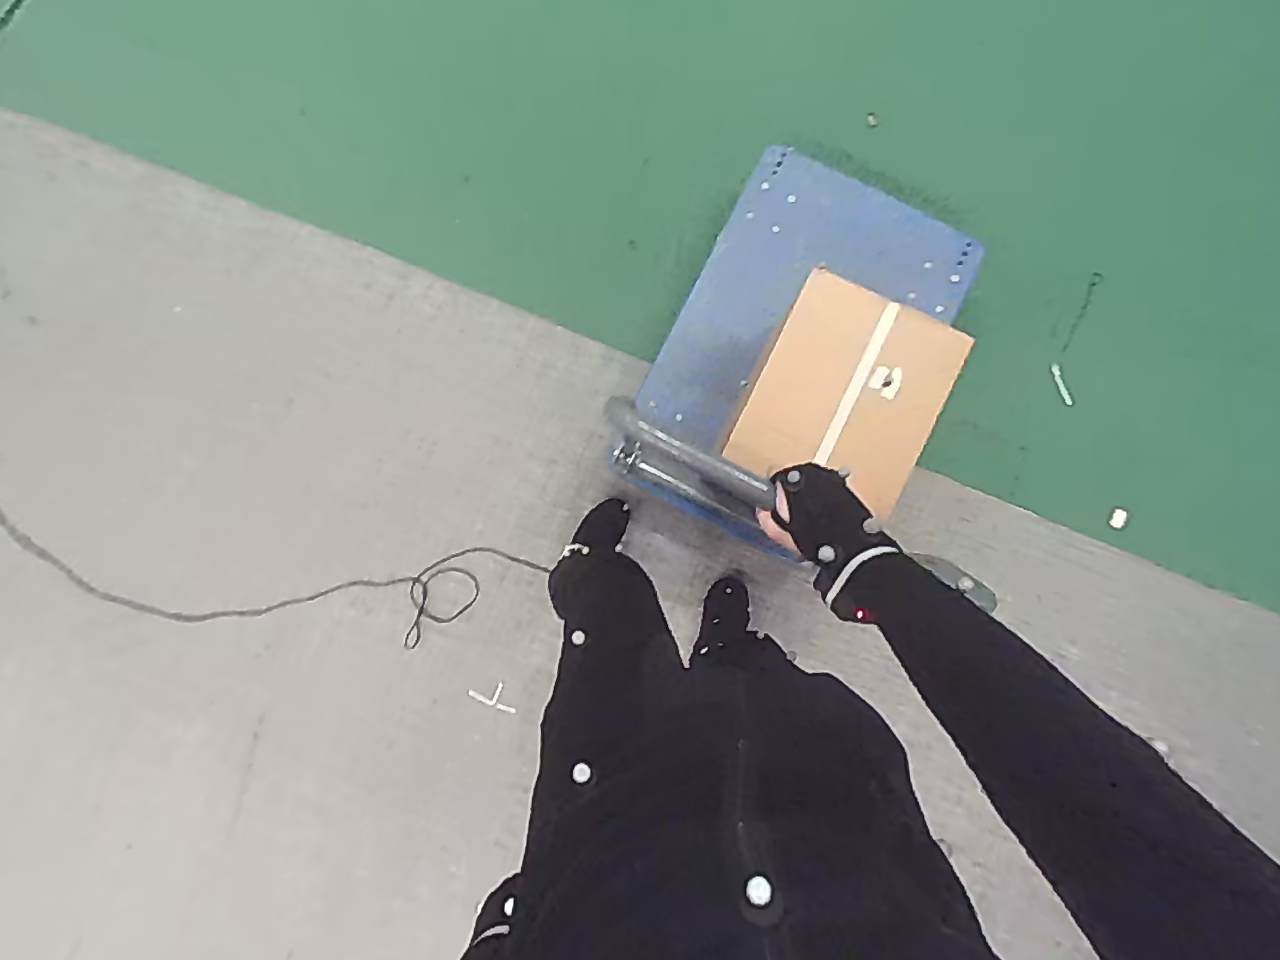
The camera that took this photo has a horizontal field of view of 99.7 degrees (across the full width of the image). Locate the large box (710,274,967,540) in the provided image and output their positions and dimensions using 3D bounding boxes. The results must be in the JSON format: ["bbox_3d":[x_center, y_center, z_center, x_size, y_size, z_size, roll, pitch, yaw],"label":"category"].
[{"bbox_3d":[0.371,-0.124,1.114,0.320,0.320,0.408,26,88,2],"label":"large box"}]
